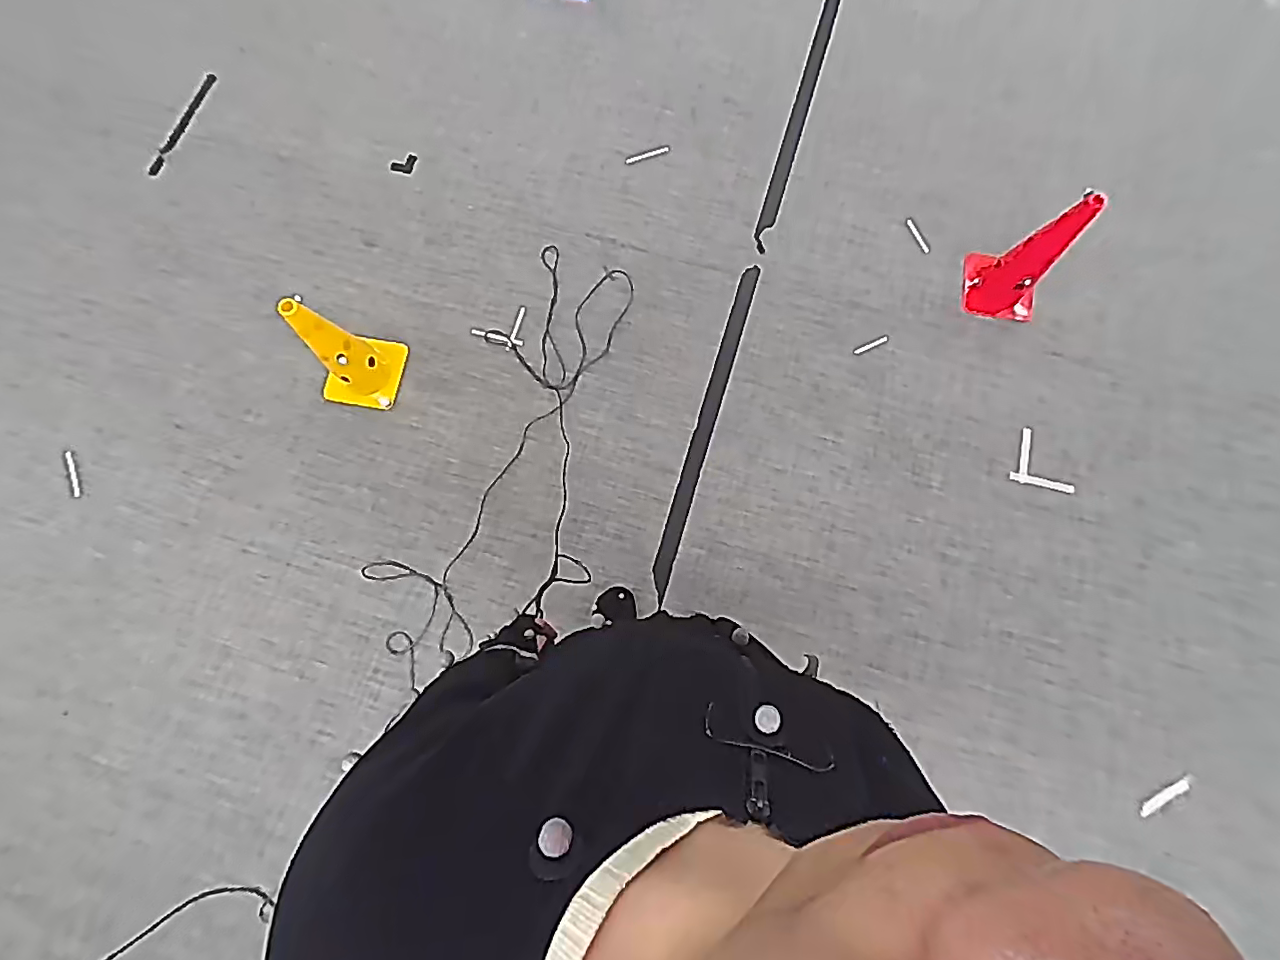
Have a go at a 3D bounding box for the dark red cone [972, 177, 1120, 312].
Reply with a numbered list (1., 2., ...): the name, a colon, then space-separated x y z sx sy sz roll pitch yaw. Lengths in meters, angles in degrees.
1. dark red cone: 1.044 -0.612 1.378 0.201 0.394 0.202 9 77 3
